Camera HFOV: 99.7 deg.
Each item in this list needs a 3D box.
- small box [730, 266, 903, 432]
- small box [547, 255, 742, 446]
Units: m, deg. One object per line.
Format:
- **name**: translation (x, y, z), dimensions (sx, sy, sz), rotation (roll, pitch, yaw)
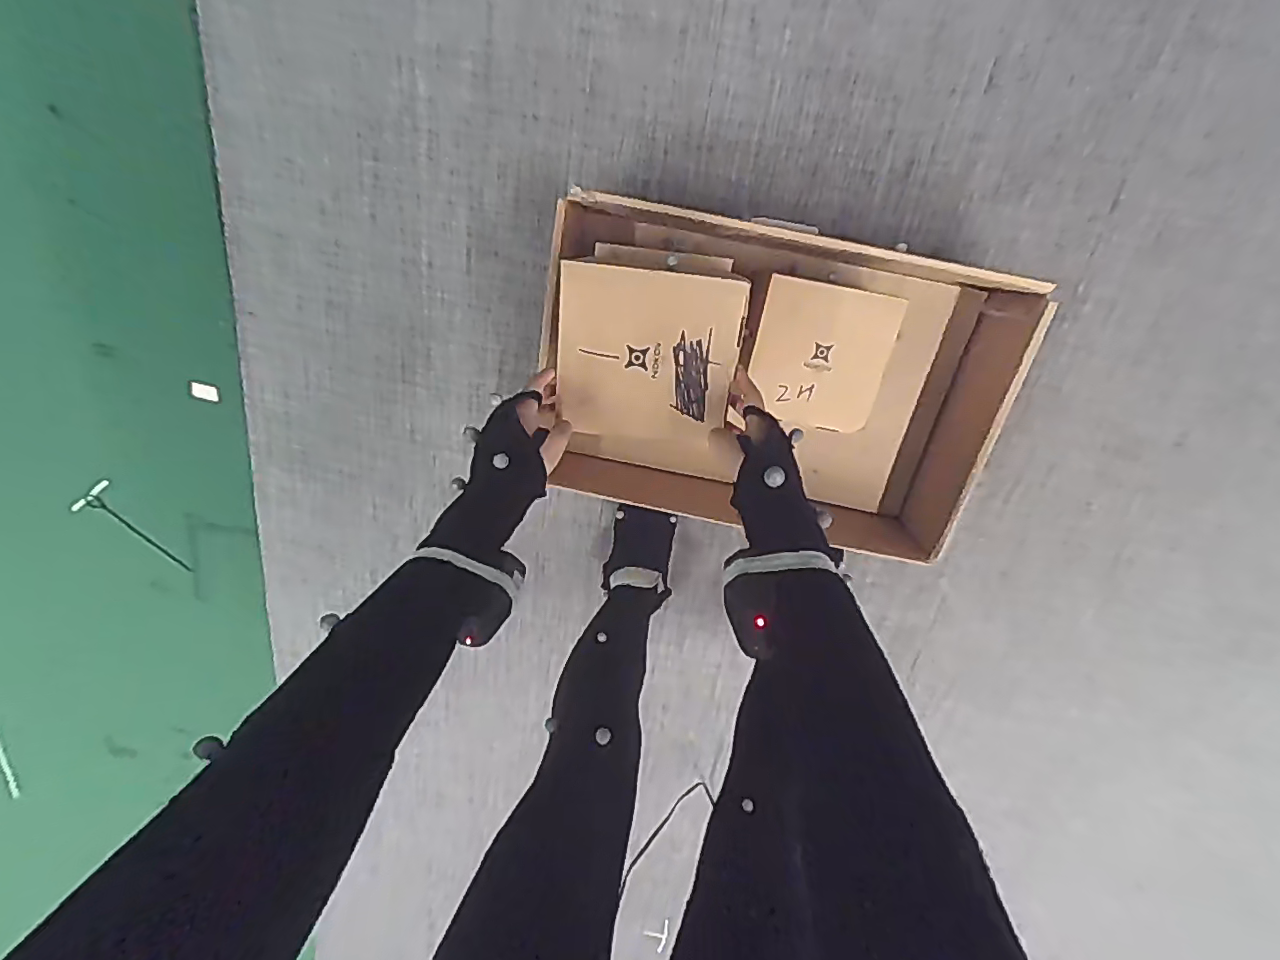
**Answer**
- **small box**: translation (0.222, -0.186, 0.737), dimensions (0.168, 0.176, 0.179), rotation (12, 113, 2)
- **small box**: translation (0.006, -0.150, 0.595), dimensions (0.179, 0.176, 0.168), rotation (8, 113, 3)
